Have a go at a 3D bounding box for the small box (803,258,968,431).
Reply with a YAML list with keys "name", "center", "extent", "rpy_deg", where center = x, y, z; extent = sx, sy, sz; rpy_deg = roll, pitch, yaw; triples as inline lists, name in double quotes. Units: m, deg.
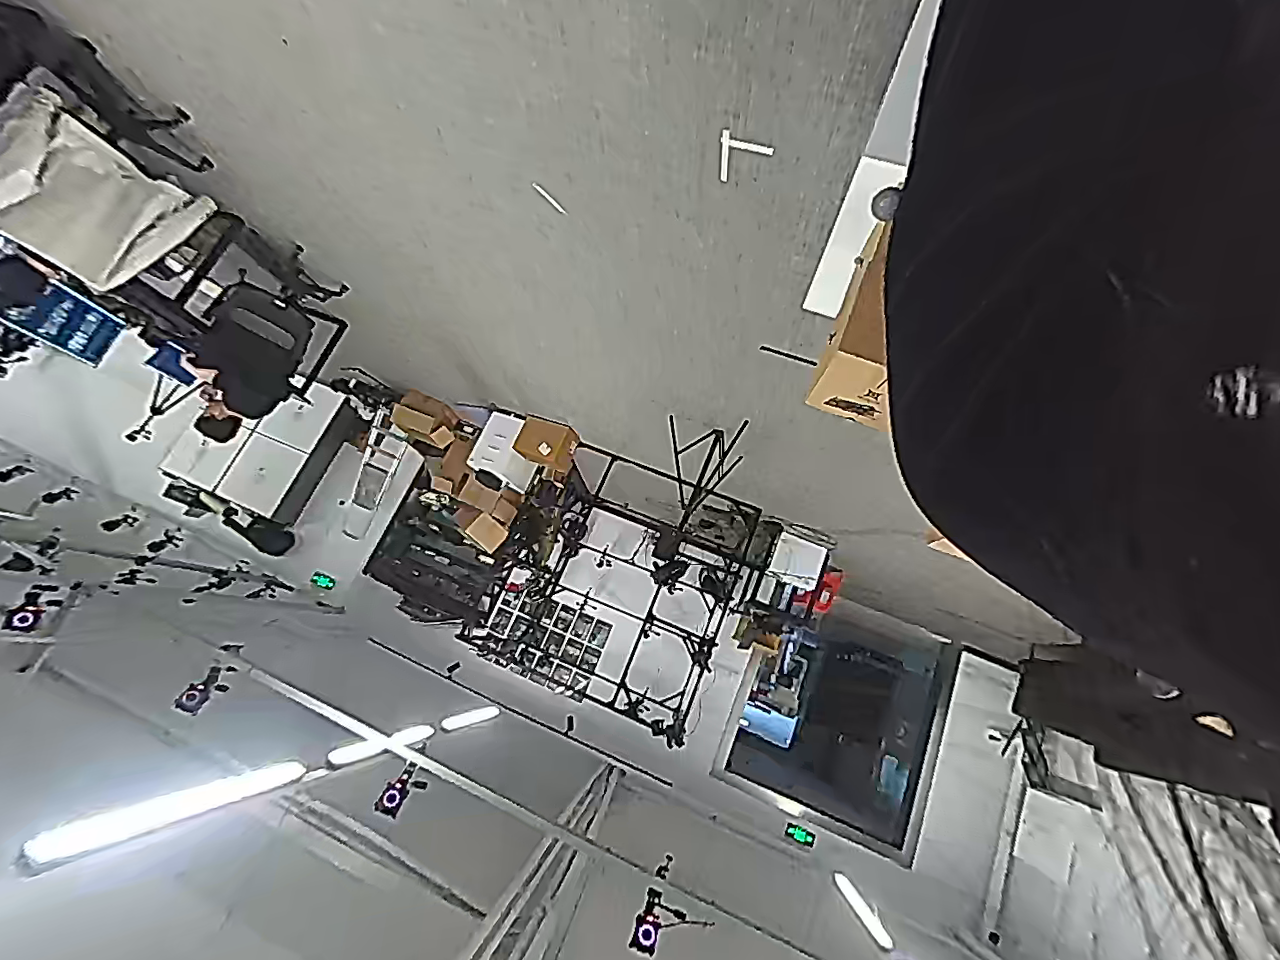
- name: "small box"
  center: [0.379, -0.207, 0.847]
  extent: [0.168, 0.176, 0.179]
  rpy_deg: [21, 165, 7]
